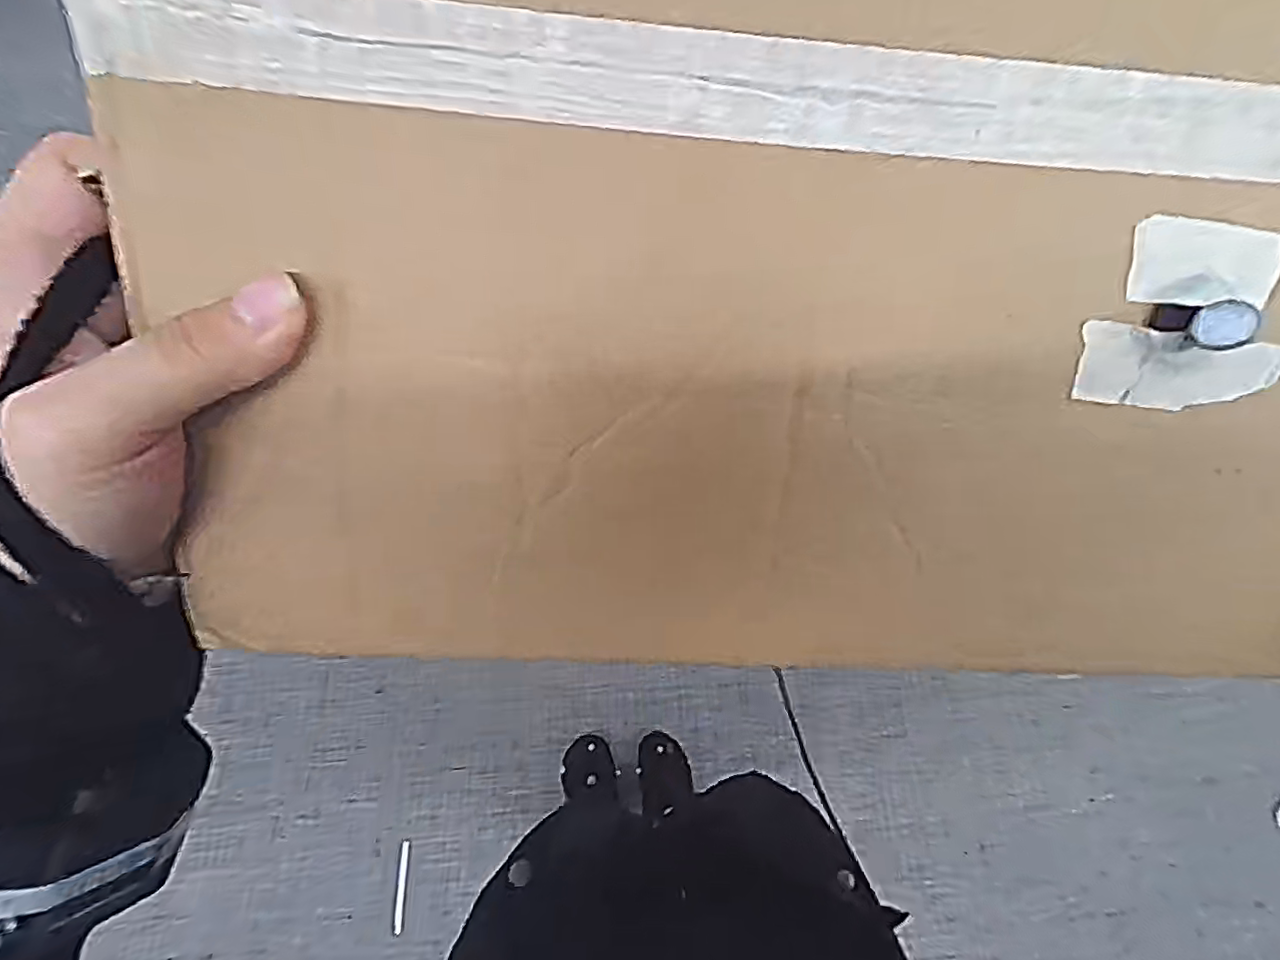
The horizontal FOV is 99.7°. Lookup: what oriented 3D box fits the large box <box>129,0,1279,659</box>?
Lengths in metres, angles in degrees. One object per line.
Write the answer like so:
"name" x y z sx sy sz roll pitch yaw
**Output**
"large box" 0.067 -0.129 0.285 0.408 0.320 0.320 2 107 -5
